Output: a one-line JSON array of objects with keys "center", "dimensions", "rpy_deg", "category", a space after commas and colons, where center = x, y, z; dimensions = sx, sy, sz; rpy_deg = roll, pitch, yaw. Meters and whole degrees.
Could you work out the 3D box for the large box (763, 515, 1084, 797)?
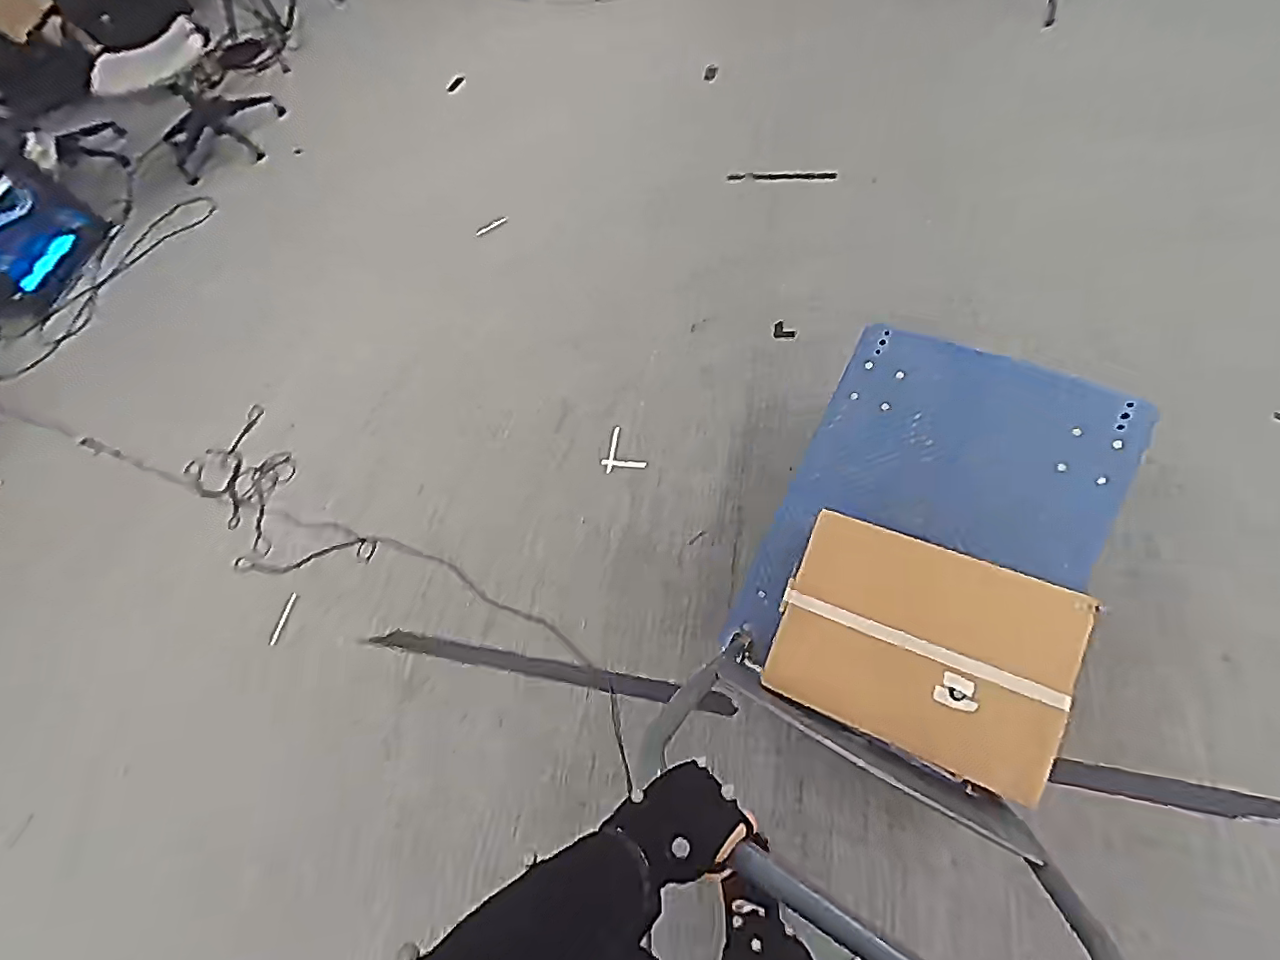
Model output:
[{"center": [0.472, 0.288, 0.993], "dimensions": [0.408, 0.320, 0.320], "rpy_deg": [19, 85, 19], "category": "large box"}]
